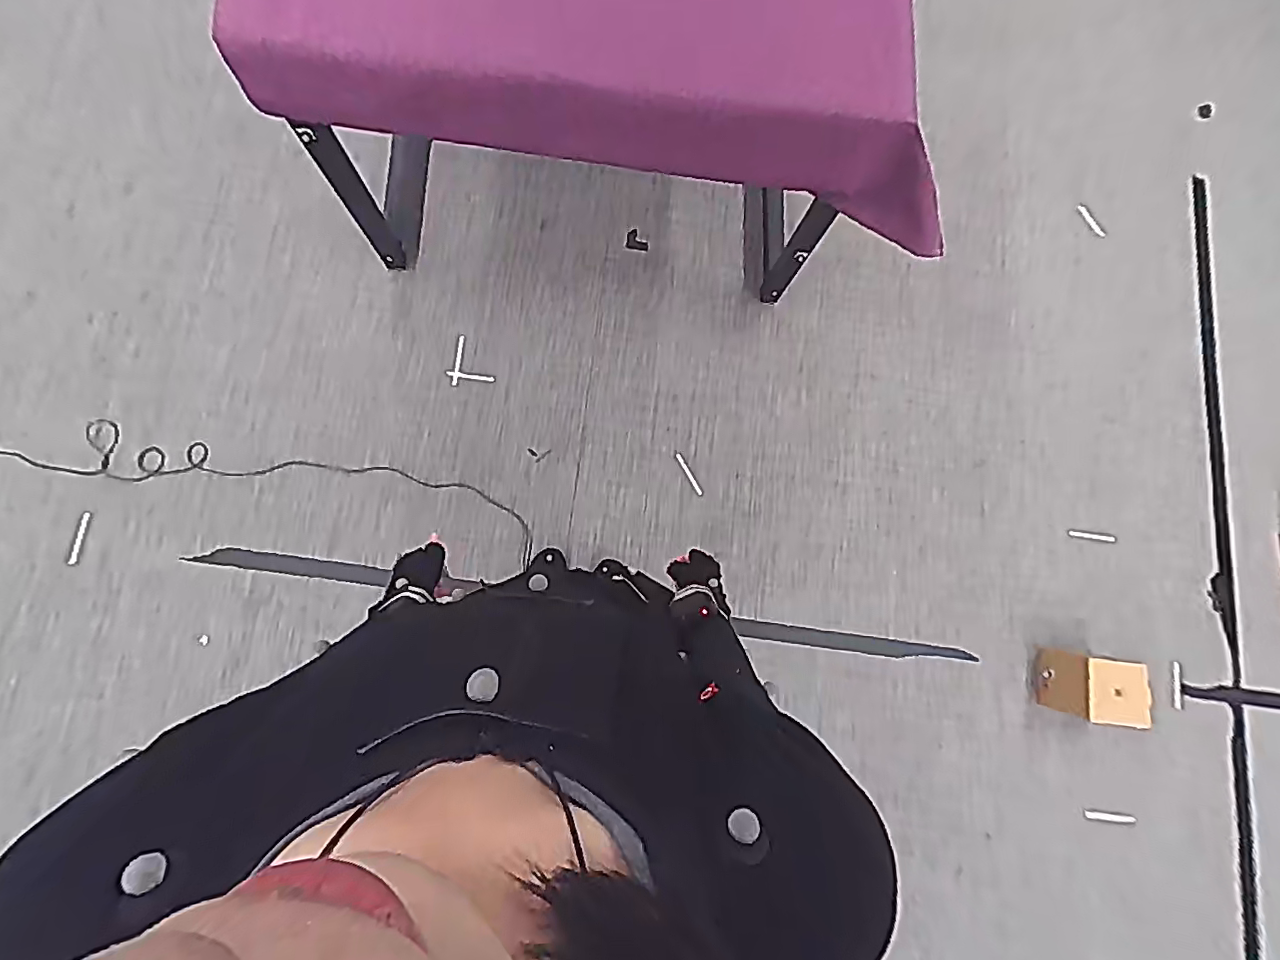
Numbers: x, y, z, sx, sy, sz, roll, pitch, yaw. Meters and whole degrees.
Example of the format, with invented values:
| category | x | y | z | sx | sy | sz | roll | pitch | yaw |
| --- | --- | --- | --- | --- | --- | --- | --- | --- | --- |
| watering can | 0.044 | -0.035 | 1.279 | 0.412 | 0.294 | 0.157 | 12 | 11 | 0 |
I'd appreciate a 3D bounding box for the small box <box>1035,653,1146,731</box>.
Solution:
| category | x | y | z | sx | sy | sz | roll | pitch | yaw |
| --- | --- | --- | --- | --- | --- | --- | --- | --- | --- |
| small box | 1.255 | 0.586 | 1.515 | 0.179 | 0.176 | 0.168 | 8 | 79 | -3 |
